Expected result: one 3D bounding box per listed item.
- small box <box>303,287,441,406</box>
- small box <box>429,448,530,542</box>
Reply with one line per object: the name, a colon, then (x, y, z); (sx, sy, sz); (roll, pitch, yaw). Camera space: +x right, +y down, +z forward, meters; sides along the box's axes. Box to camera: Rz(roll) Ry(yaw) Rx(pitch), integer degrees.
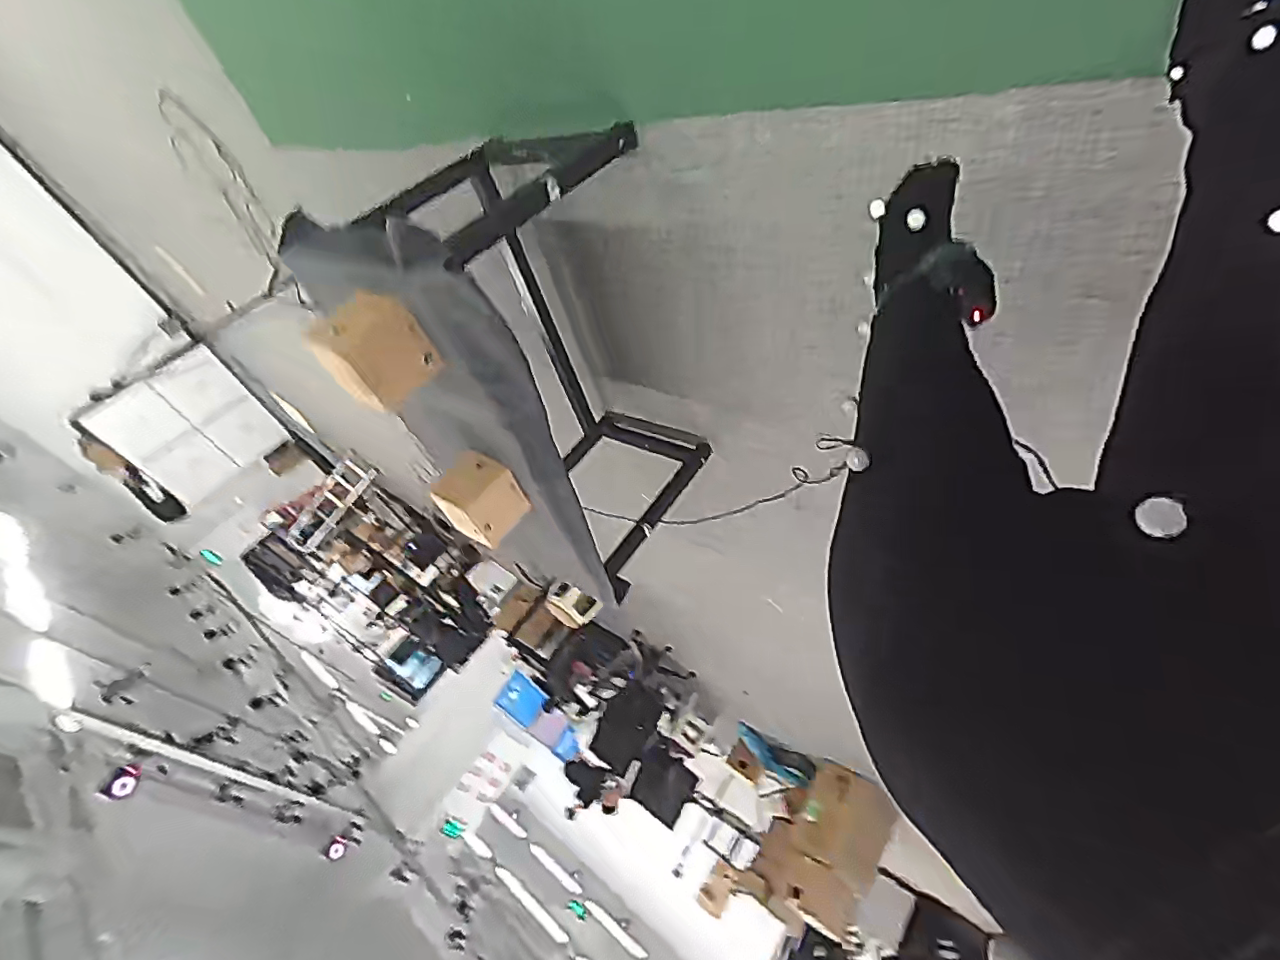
small box: (-0.552, -0.287, 1.141); (0.179, 0.176, 0.168); (23, 151, 34)
small box: (-0.437, 0.034, 1.494); (0.179, 0.176, 0.168); (22, 149, 35)
